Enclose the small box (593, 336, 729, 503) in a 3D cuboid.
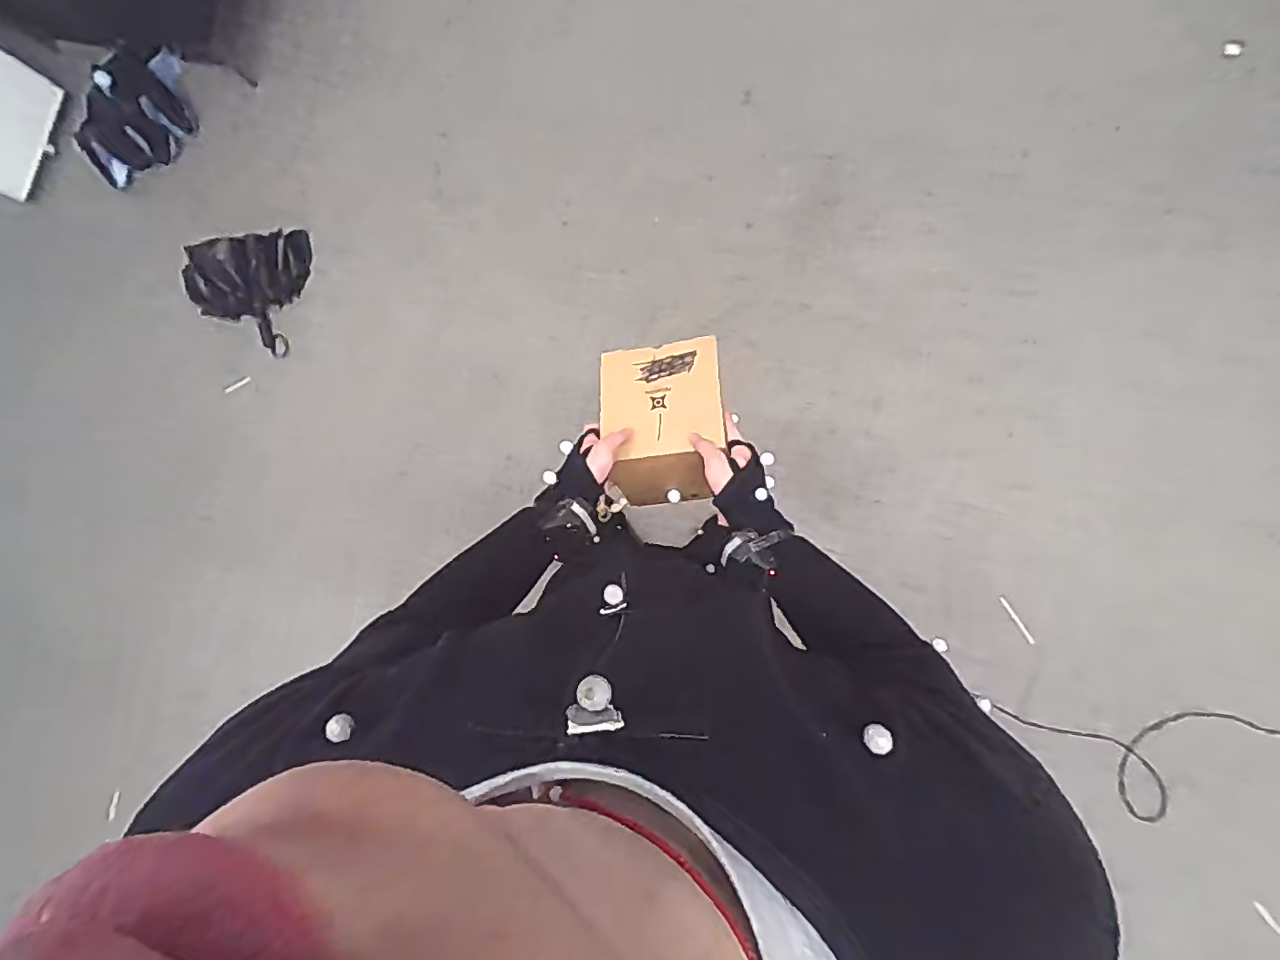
[{"bbox_3d":[0.036,-0.082,0.805,0.168,0.176,0.179,-8,65,14],"label":"small box"}]
